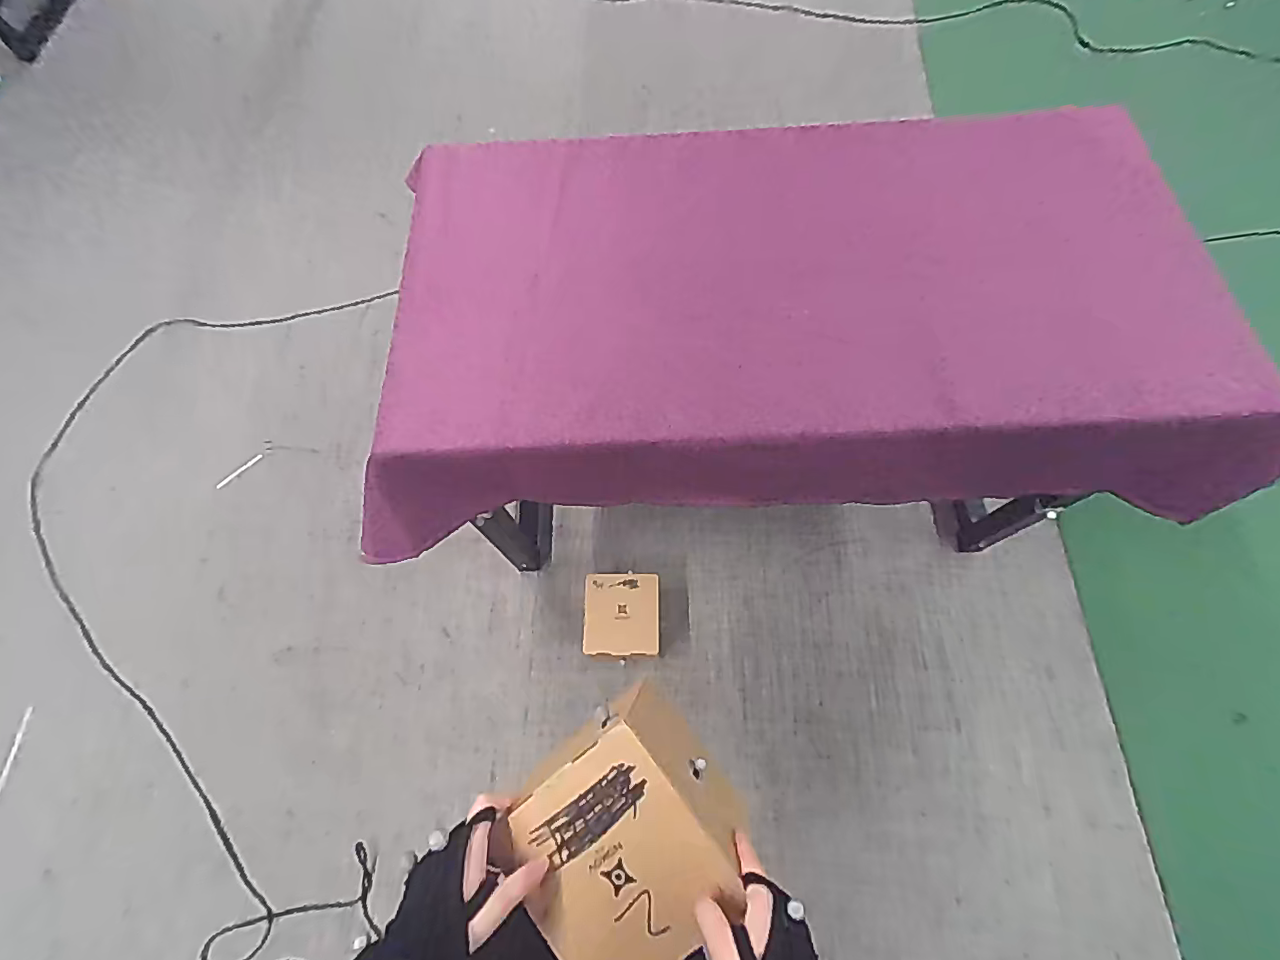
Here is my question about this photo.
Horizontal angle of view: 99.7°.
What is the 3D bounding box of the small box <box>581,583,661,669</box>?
[{"bbox_3d":[-0.037,0.343,1.258,0.168,0.176,0.179,0,67,4],"label":"small box"}]
